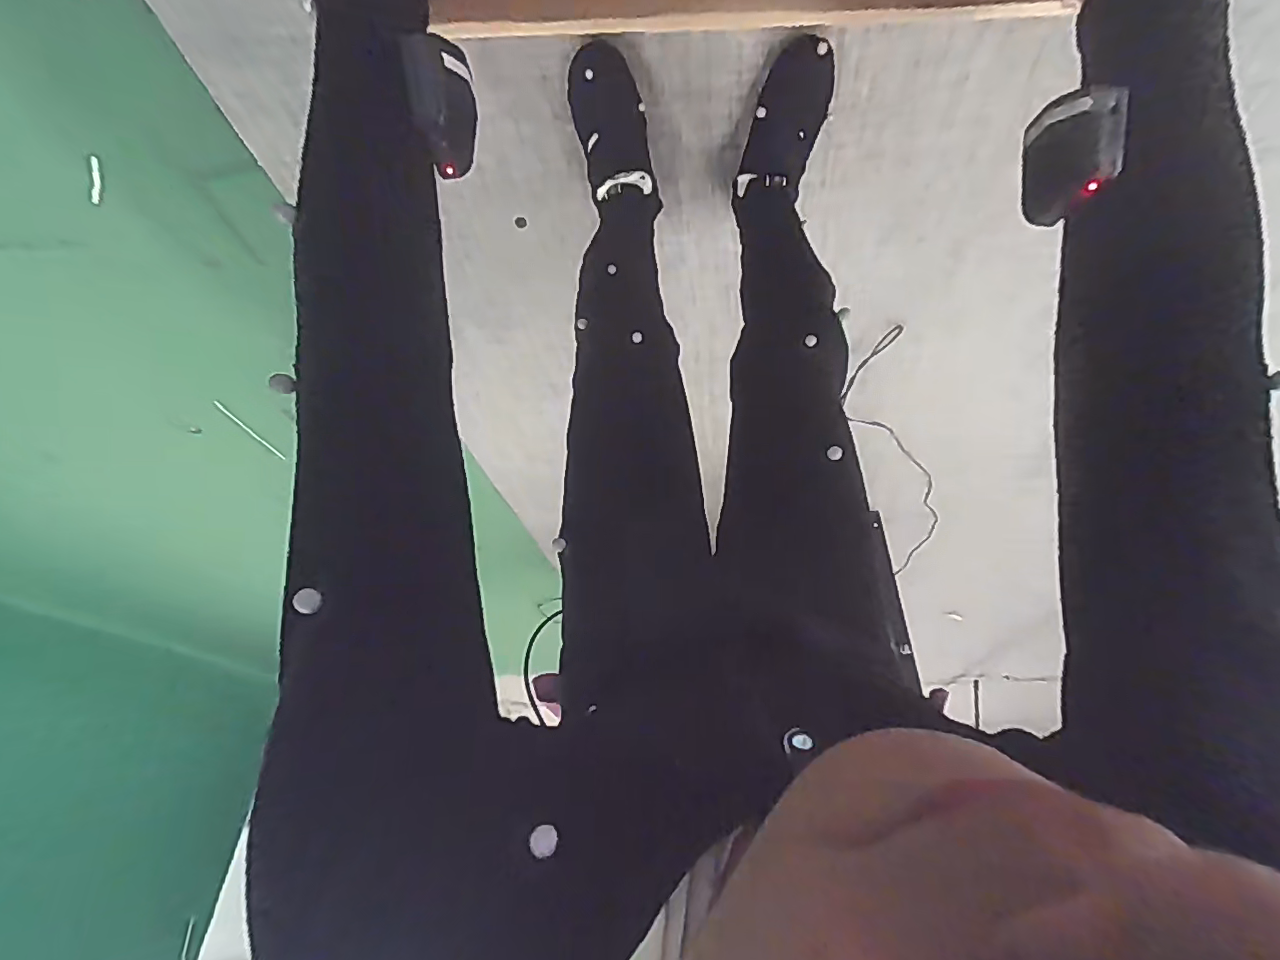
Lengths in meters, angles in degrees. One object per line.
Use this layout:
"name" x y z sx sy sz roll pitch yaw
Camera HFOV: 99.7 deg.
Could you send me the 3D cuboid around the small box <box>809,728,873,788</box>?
"small box" 0.667 0.937 1.812 0.168 0.176 0.179 -4 147 10
